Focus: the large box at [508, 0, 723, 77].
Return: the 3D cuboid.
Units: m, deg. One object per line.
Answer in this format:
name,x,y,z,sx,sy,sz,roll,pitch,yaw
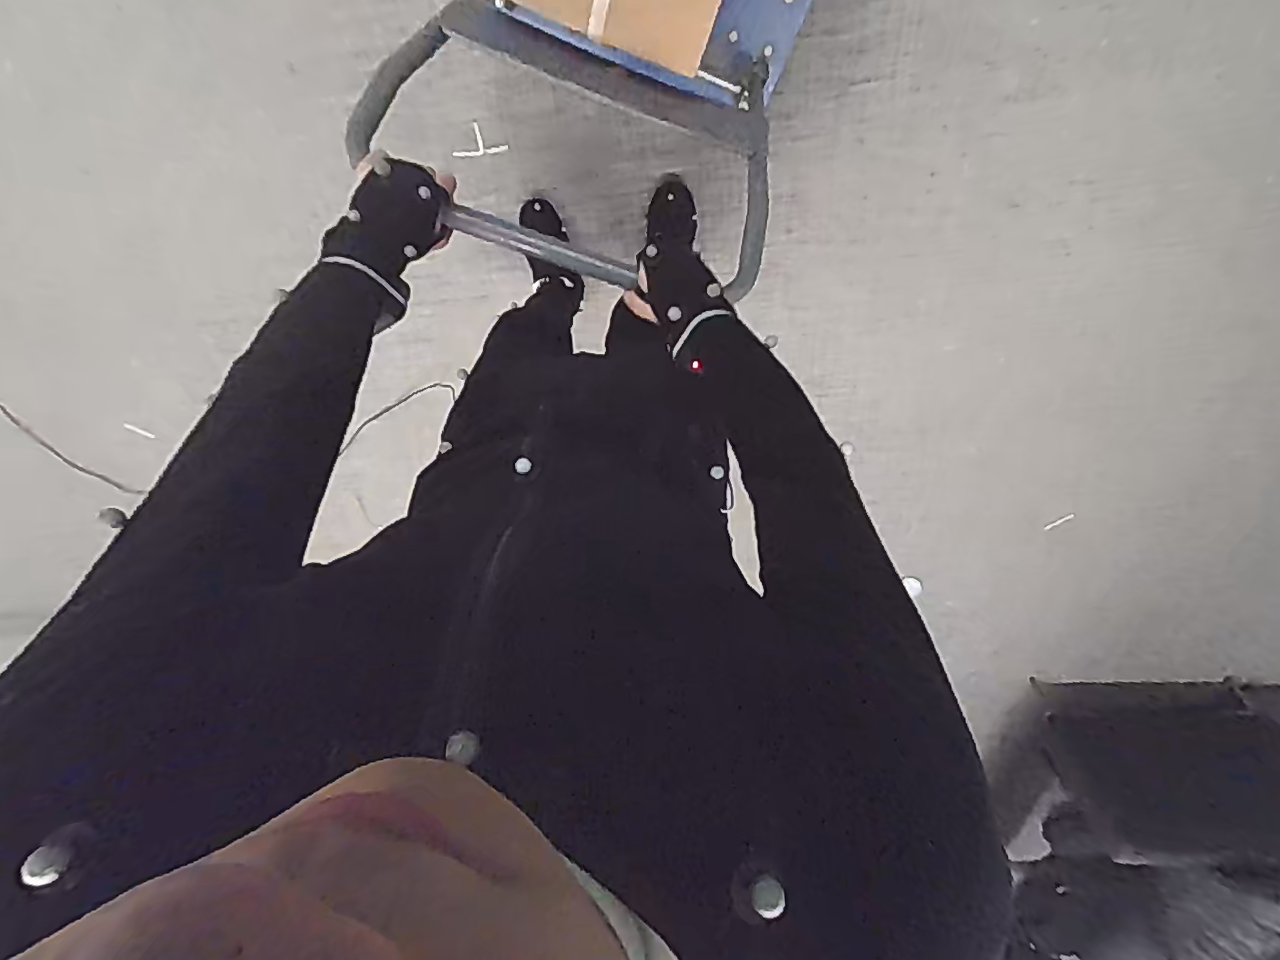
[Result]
large box,0.013,-0.866,0.729,0.320,0.320,0.408,17,139,-10
